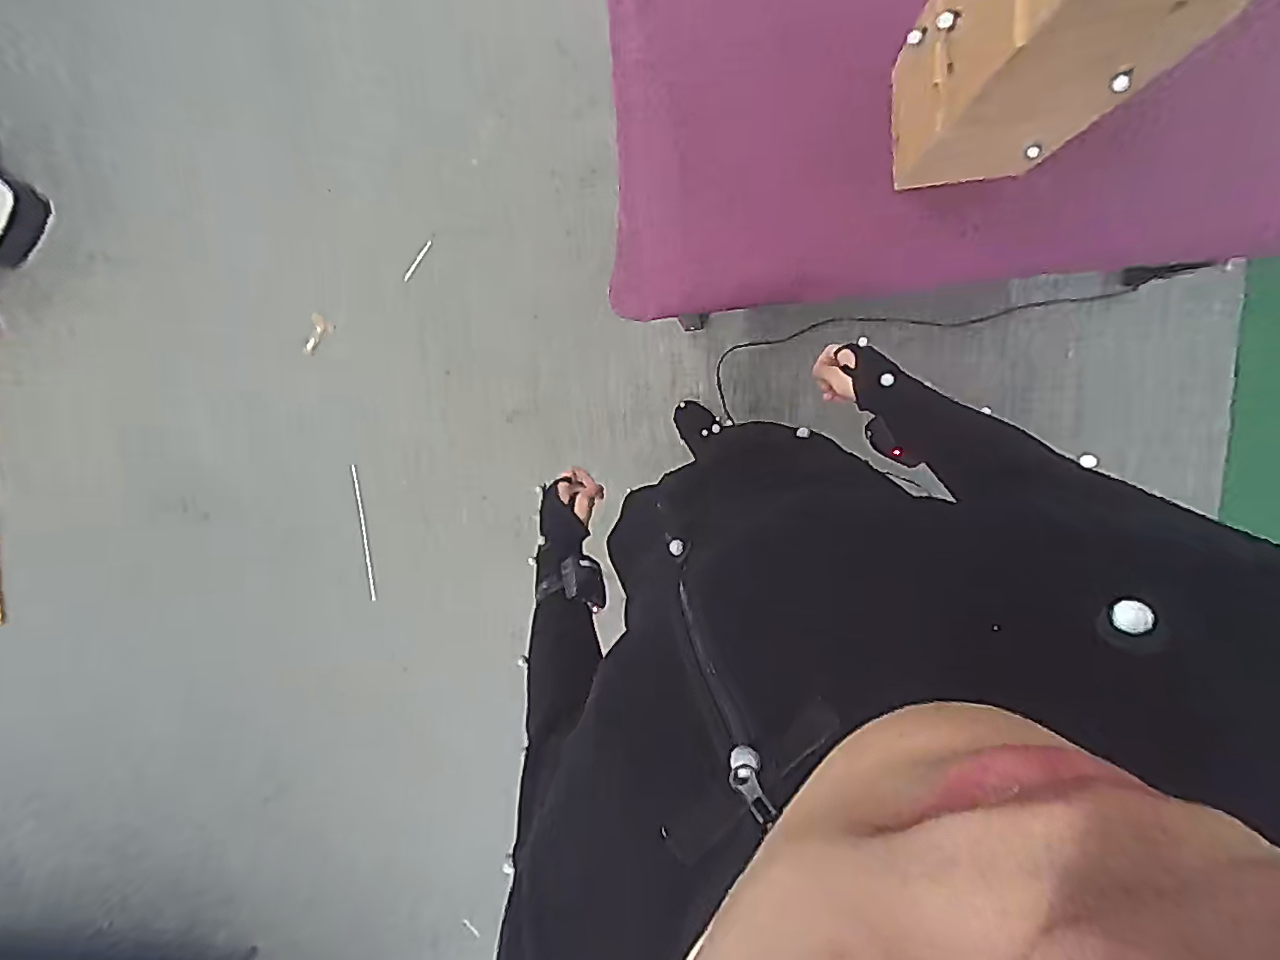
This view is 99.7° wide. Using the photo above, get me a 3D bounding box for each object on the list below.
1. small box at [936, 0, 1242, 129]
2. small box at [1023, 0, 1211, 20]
[{"bbox_3d":[0.412,-0.473,0.520,0.179,0.176,0.168,-3,98,9],"label":"small box"},{"bbox_3d":[0.387,-0.456,0.361,0.168,0.176,0.179,-4,98,9],"label":"small box"}]
